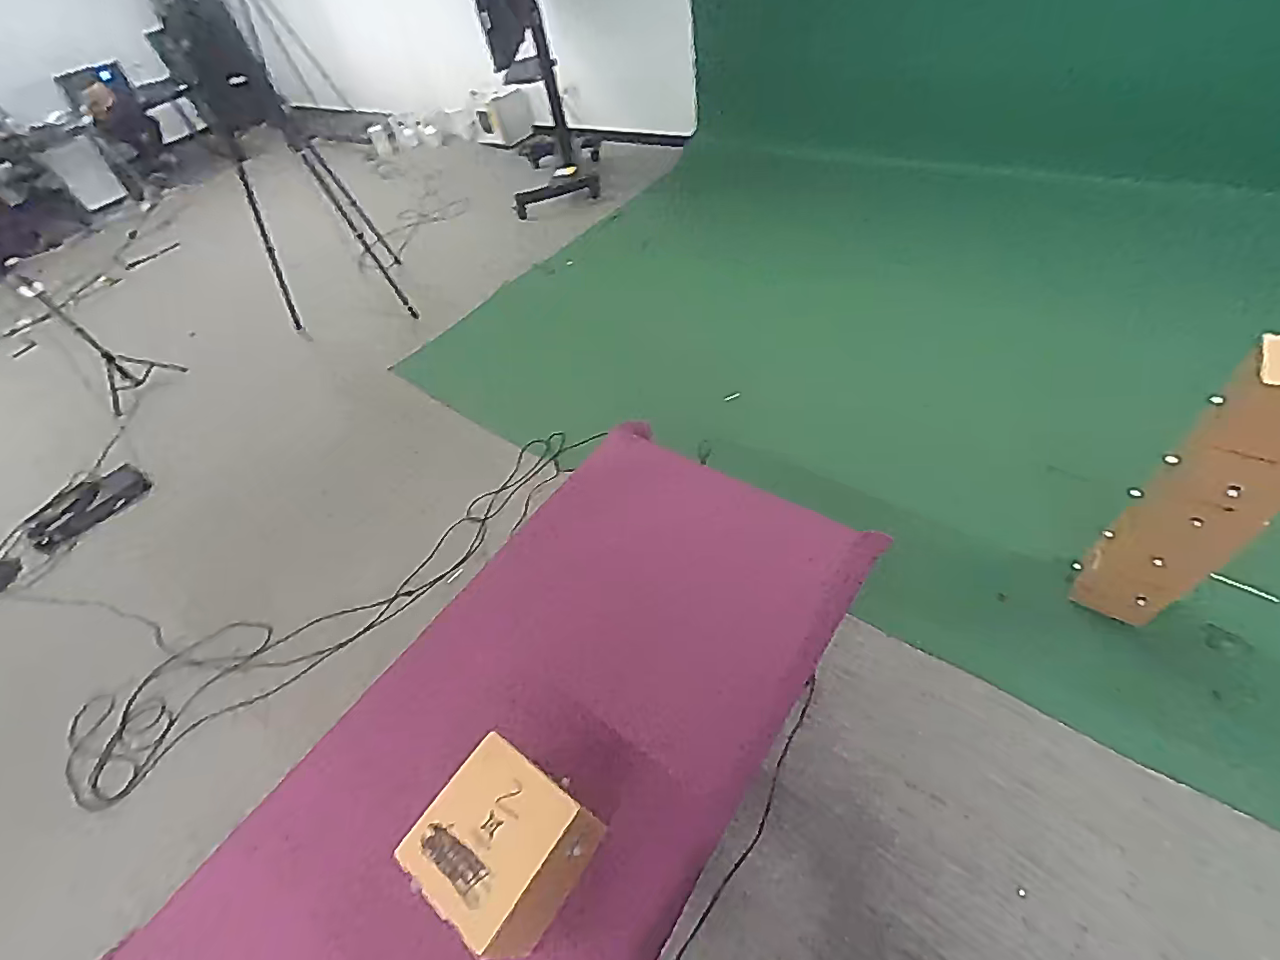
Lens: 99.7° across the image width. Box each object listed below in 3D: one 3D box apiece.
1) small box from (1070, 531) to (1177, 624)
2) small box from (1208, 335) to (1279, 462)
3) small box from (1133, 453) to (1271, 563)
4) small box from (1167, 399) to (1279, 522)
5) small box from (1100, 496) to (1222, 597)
[{"bbox_3d":[1.363,0.280,1.518,0.179,0.176,0.168,26,59,30],"label":"small box"},{"bbox_3d":[1.257,-0.145,1.034,0.179,0.176,0.168,23,57,30],"label":"small box"},{"bbox_3d":[1.314,0.069,1.275,0.179,0.176,0.168,22,58,27],"label":"small box"},{"bbox_3d":[1.281,-0.039,1.157,0.168,0.176,0.179,23,59,29],"label":"small box"},{"bbox_3d":[1.343,0.176,1.395,0.179,0.176,0.168,22,58,29],"label":"small box"}]
